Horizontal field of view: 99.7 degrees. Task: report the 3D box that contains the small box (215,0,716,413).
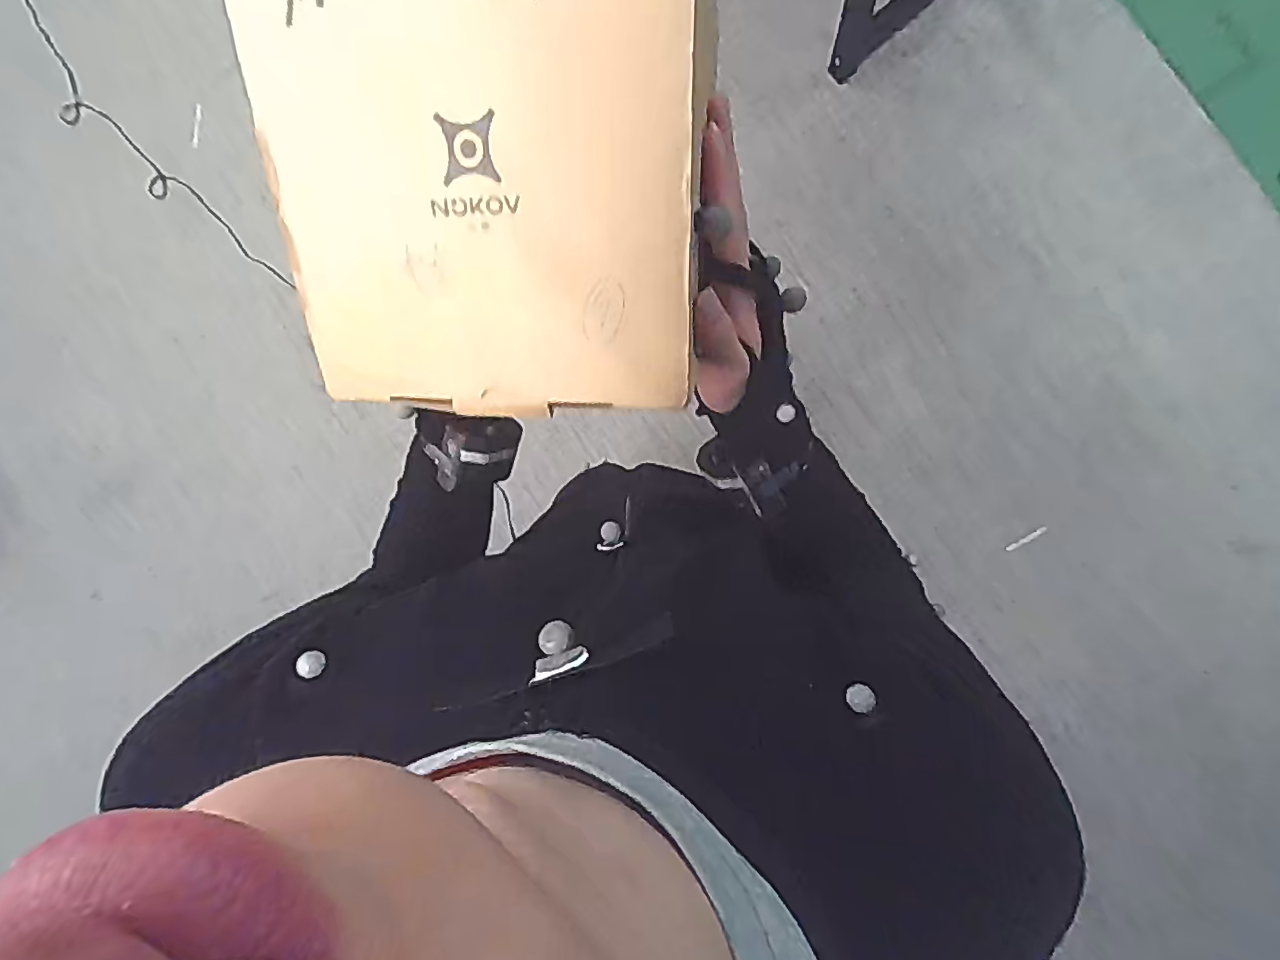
[{"bbox_3d":[-0.049,-0.142,0.266,0.168,0.176,0.179,2,114,8],"label":"small box"}]
